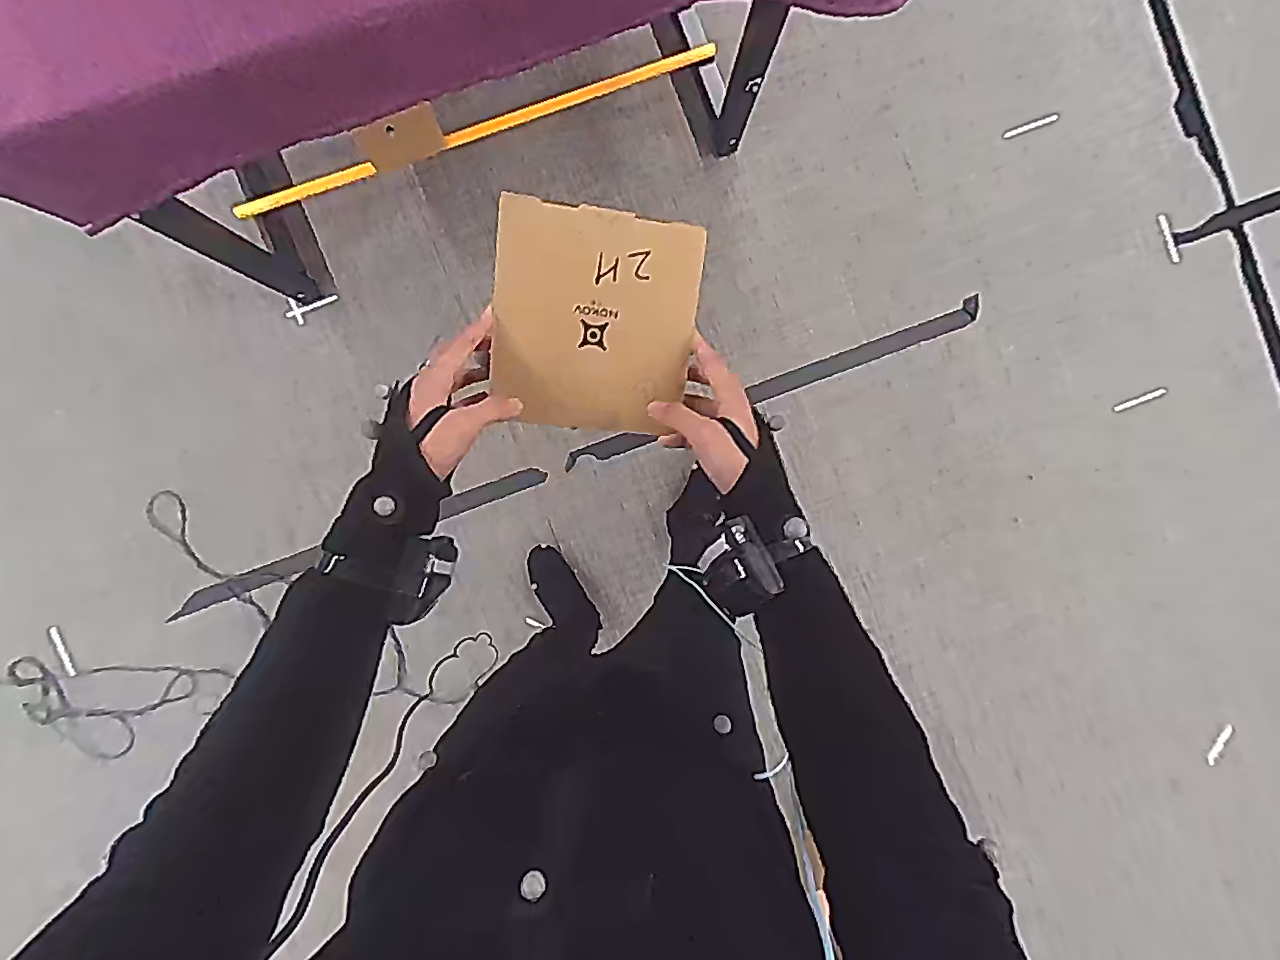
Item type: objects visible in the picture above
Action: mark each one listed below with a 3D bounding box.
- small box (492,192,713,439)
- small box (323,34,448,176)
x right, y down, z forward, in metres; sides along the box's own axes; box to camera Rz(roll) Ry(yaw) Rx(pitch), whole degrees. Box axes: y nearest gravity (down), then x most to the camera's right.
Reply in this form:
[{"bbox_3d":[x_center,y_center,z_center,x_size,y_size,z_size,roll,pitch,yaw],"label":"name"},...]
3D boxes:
[{"bbox_3d":[-0.043,-0.148,0.517,0.168,0.176,0.179,5,104,-10],"label":"small box"},{"bbox_3d":[-0.544,-0.814,1.190,0.179,0.176,0.168,-23,92,-1],"label":"small box"}]
